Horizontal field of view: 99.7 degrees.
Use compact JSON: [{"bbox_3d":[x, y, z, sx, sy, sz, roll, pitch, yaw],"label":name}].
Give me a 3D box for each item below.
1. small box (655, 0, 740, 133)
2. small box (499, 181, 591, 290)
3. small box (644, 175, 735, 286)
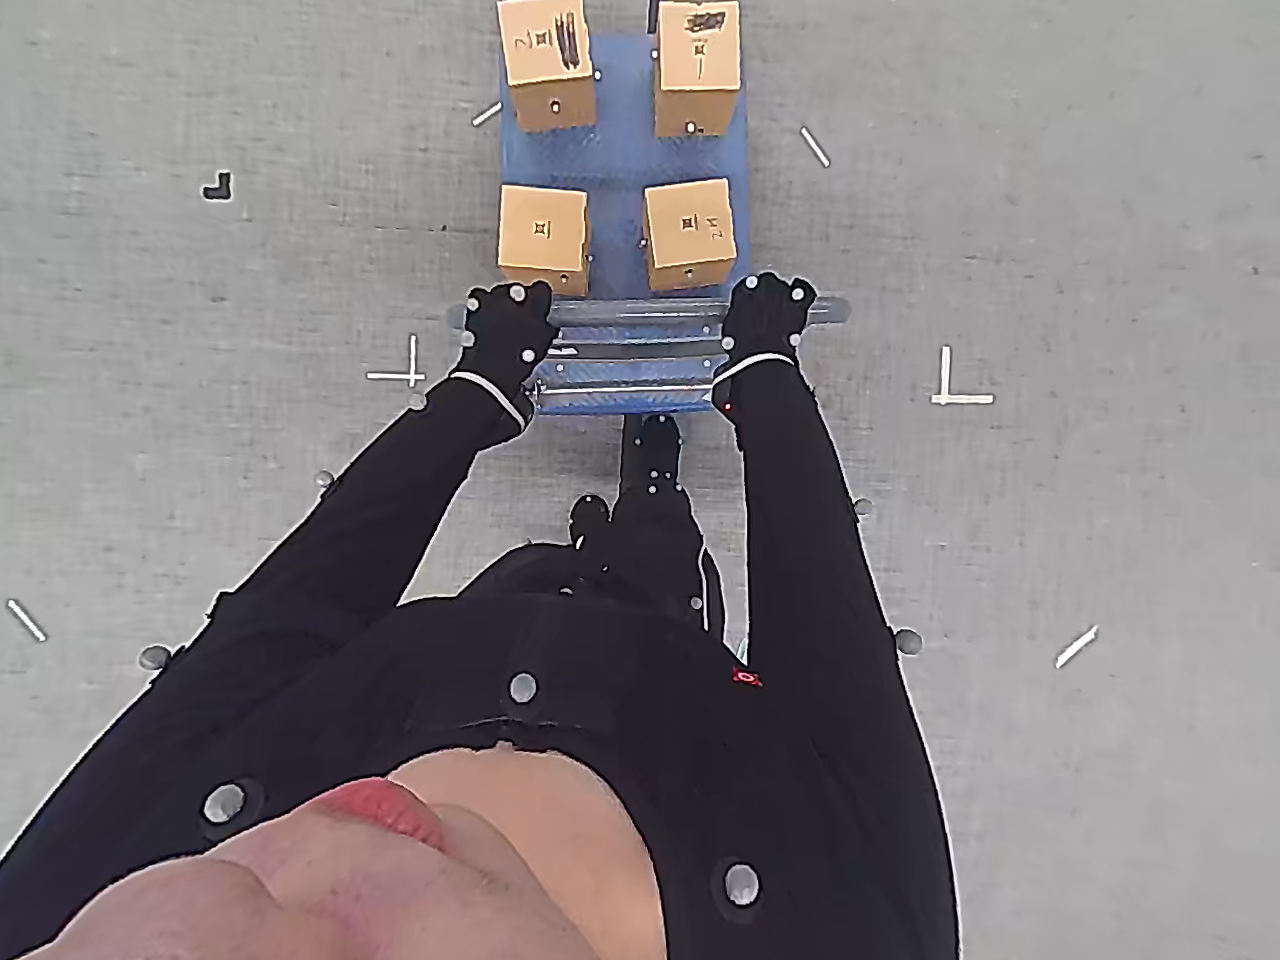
[{"bbox_3d":[0.120,-0.900,1.185,0.168,0.176,0.179,-2,94,-2],"label":"small box"},{"bbox_3d":[-0.203,-0.531,1.195,0.179,0.176,0.168,3,93,-3],"label":"small box"},{"bbox_3d":[0.104,-0.545,1.203,0.179,0.176,0.168,-7,93,-1],"label":"small box"}]
